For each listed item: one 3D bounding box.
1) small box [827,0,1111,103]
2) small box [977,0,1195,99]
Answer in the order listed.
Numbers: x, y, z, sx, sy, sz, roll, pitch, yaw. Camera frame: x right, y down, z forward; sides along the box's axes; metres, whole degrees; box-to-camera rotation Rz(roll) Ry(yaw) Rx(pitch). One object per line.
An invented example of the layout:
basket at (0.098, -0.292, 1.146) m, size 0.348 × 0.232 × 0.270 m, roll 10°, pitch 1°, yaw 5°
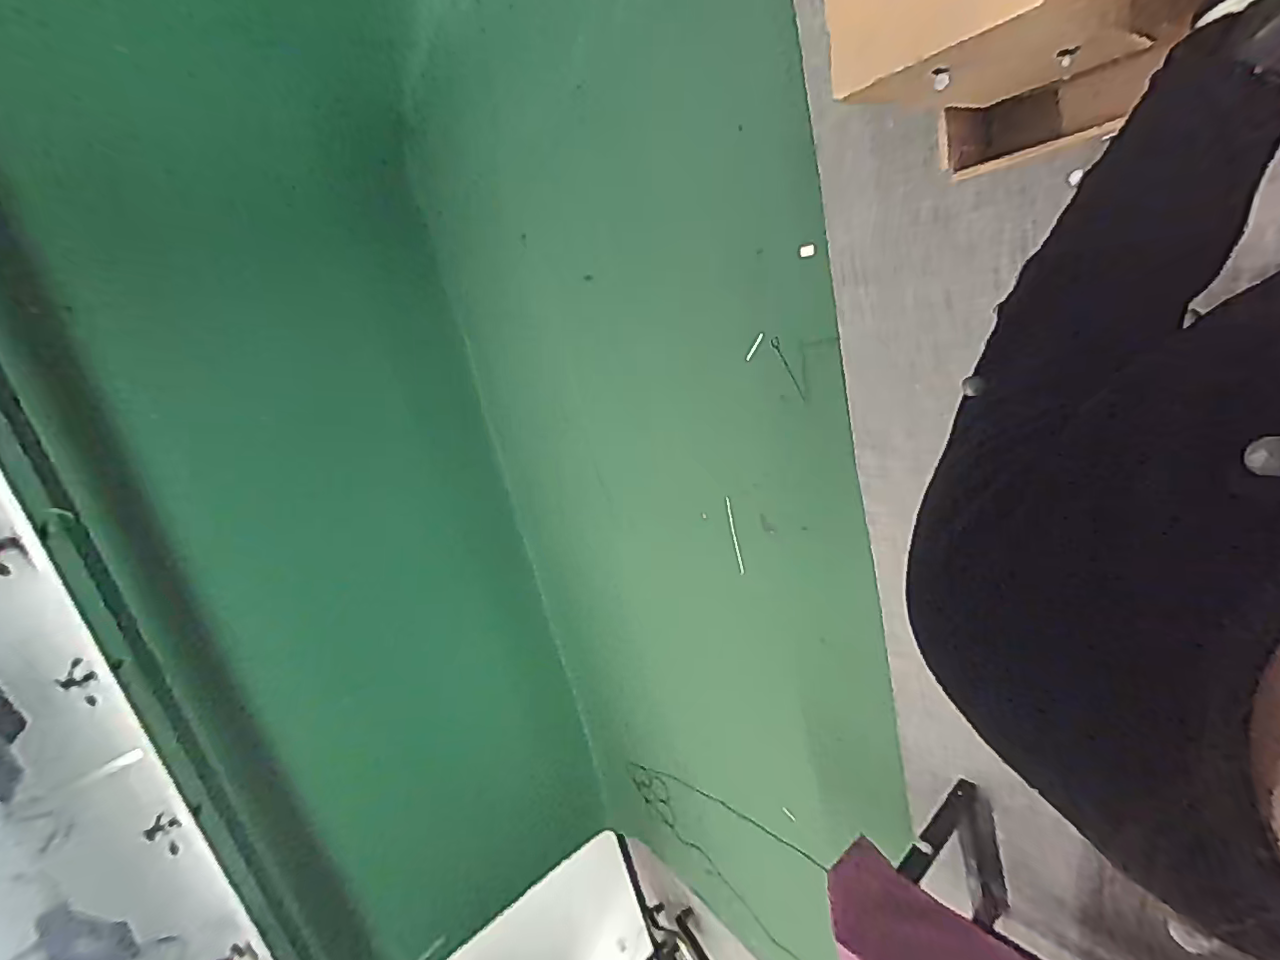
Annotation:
small box at (0.290, -0.462, 0.483) m, size 0.179 × 0.176 × 0.168 m, roll 13°, pitch 121°, yaw 52°
small box at (0.538, -0.589, 0.655) m, size 0.179 × 0.176 × 0.168 m, roll 11°, pitch 119°, yaw 52°
